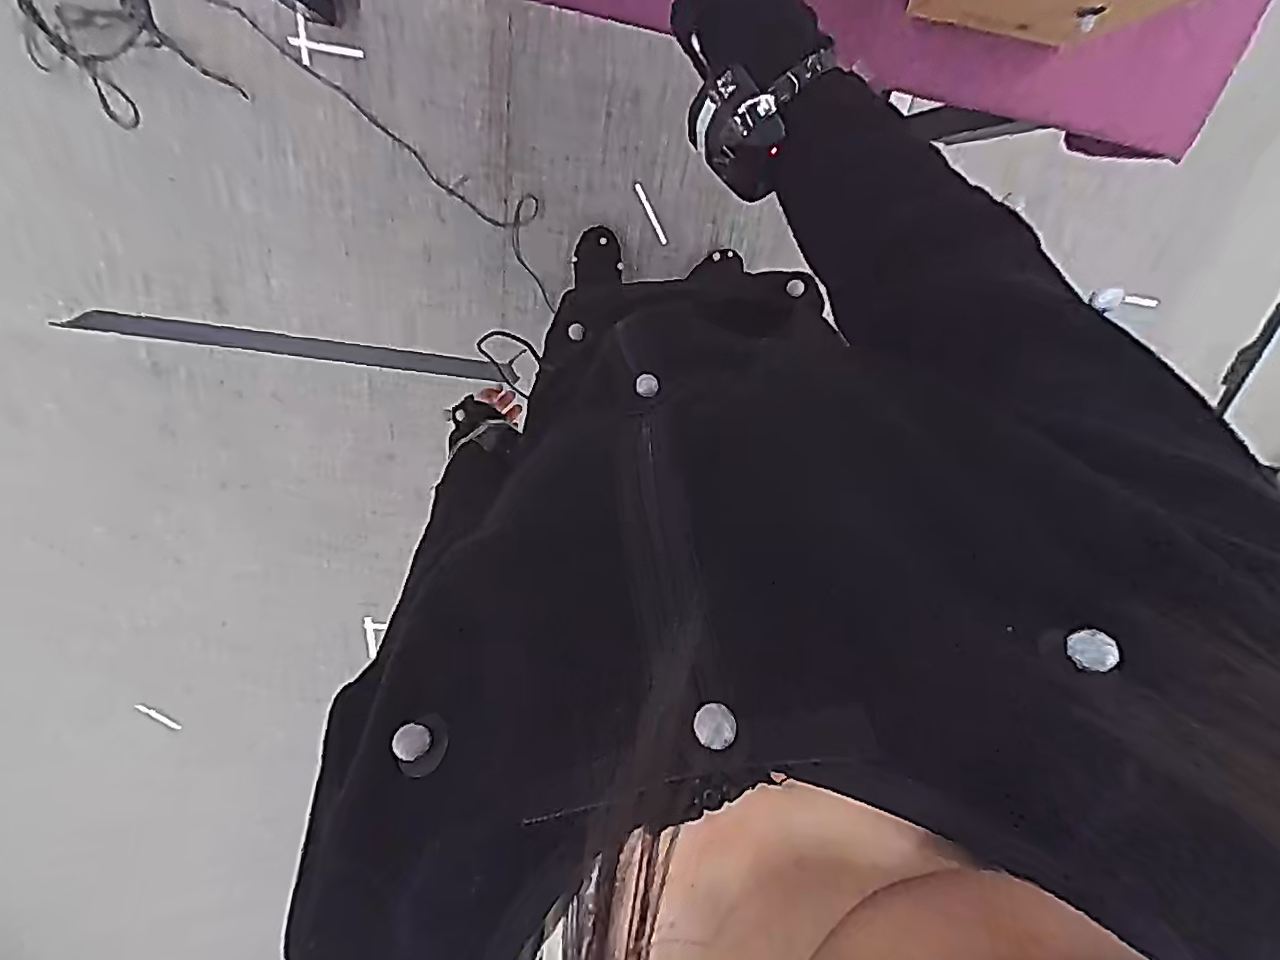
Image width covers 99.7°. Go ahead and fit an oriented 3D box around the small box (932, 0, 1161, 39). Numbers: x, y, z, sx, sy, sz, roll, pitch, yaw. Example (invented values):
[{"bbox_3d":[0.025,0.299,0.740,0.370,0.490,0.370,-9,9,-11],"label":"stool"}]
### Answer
[{"bbox_3d":[0.347,-0.468,0.406,0.168,0.176,0.179,4,116,-8],"label":"small box"}]
